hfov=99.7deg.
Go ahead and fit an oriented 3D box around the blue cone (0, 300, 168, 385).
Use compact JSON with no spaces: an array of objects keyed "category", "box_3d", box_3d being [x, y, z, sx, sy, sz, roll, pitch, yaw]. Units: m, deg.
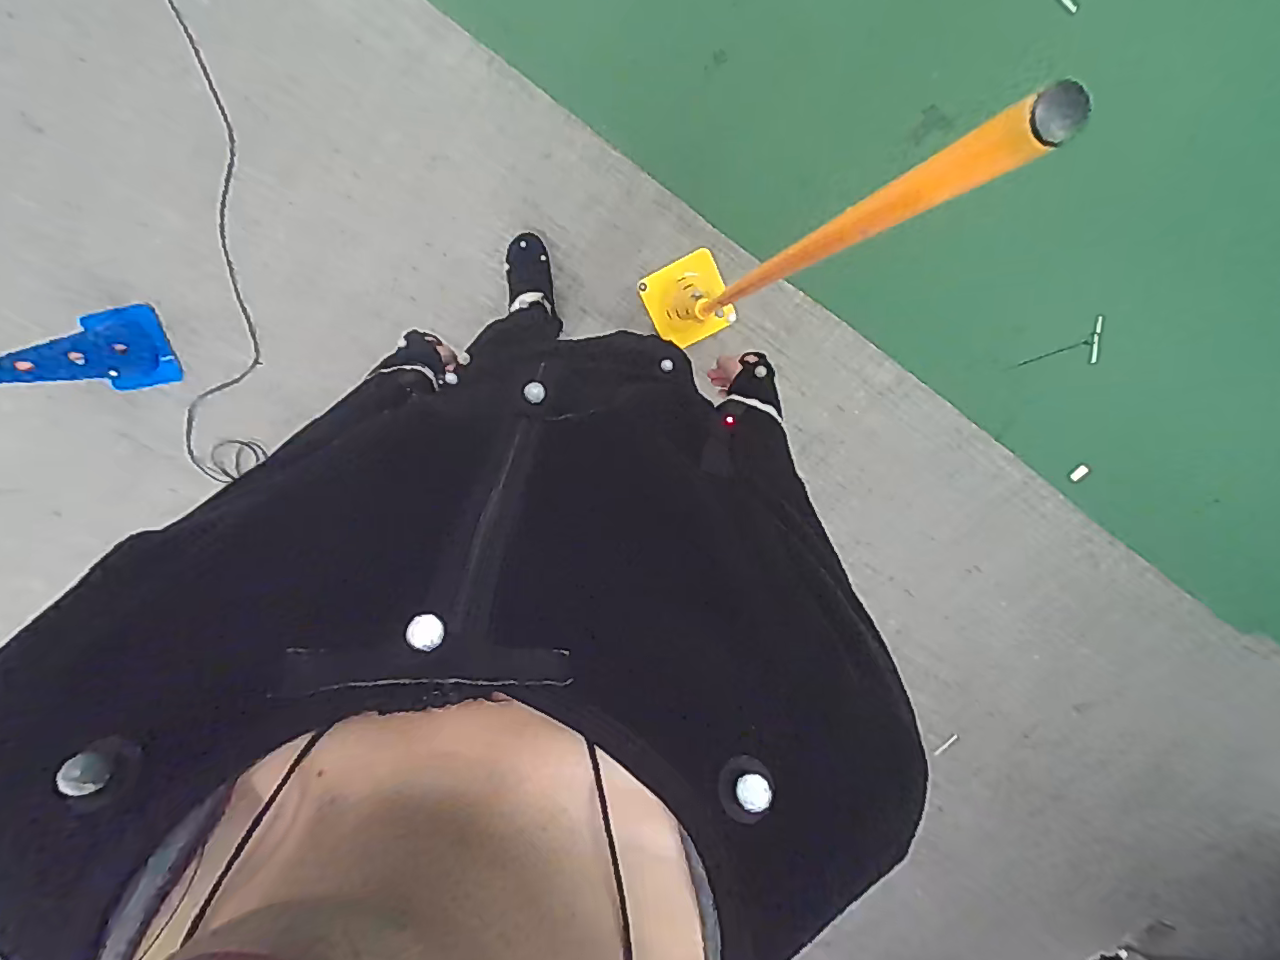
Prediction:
[{"category":"blue cone","box_3d":[-1.315,-0.280,1.215,0.193,0.380,0.192,-10,112,5]}]
